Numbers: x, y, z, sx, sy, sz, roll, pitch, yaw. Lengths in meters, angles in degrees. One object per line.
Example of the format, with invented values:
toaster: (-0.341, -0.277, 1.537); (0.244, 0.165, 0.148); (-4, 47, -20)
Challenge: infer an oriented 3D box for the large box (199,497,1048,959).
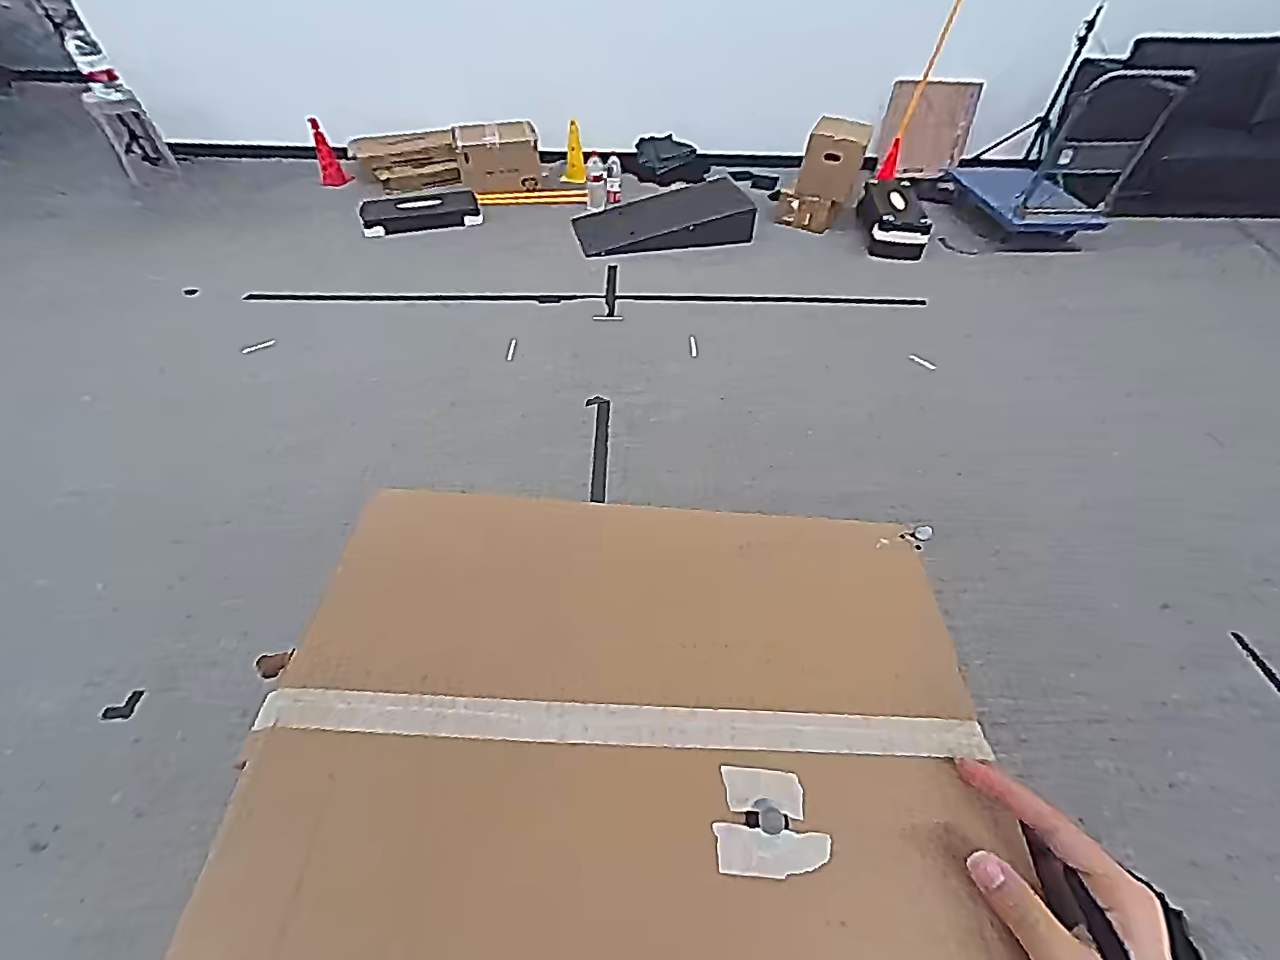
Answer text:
large box: (-0.010, 0.238, 0.432); (0.408, 0.320, 0.320); (5, 51, -3)
